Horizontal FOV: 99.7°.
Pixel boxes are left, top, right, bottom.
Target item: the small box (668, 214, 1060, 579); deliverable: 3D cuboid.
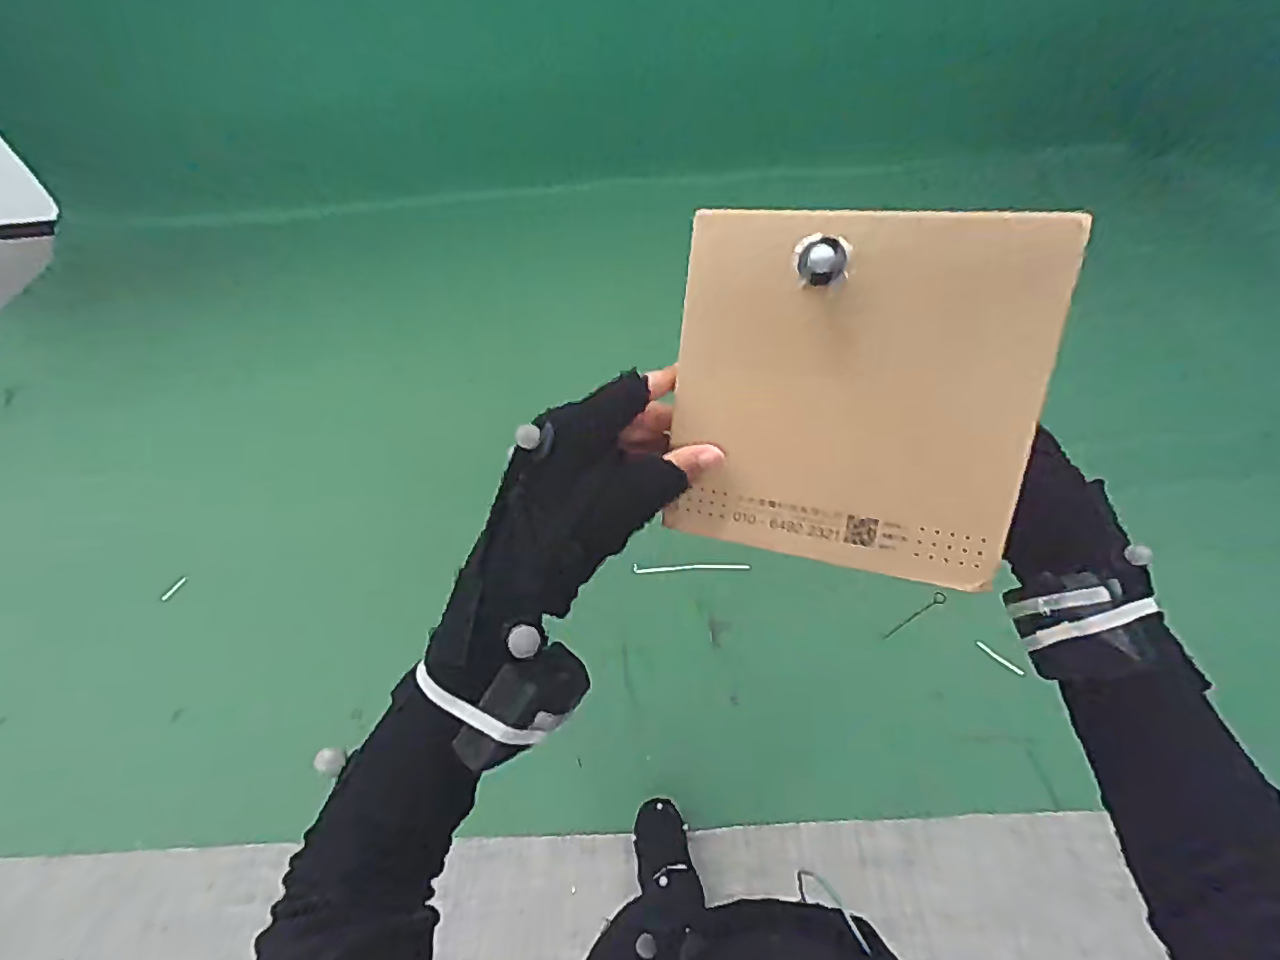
[{"bbox_3d":[0.124,-0.057,0.346,0.168,0.176,0.179,10,14,20],"label":"small box"}]
